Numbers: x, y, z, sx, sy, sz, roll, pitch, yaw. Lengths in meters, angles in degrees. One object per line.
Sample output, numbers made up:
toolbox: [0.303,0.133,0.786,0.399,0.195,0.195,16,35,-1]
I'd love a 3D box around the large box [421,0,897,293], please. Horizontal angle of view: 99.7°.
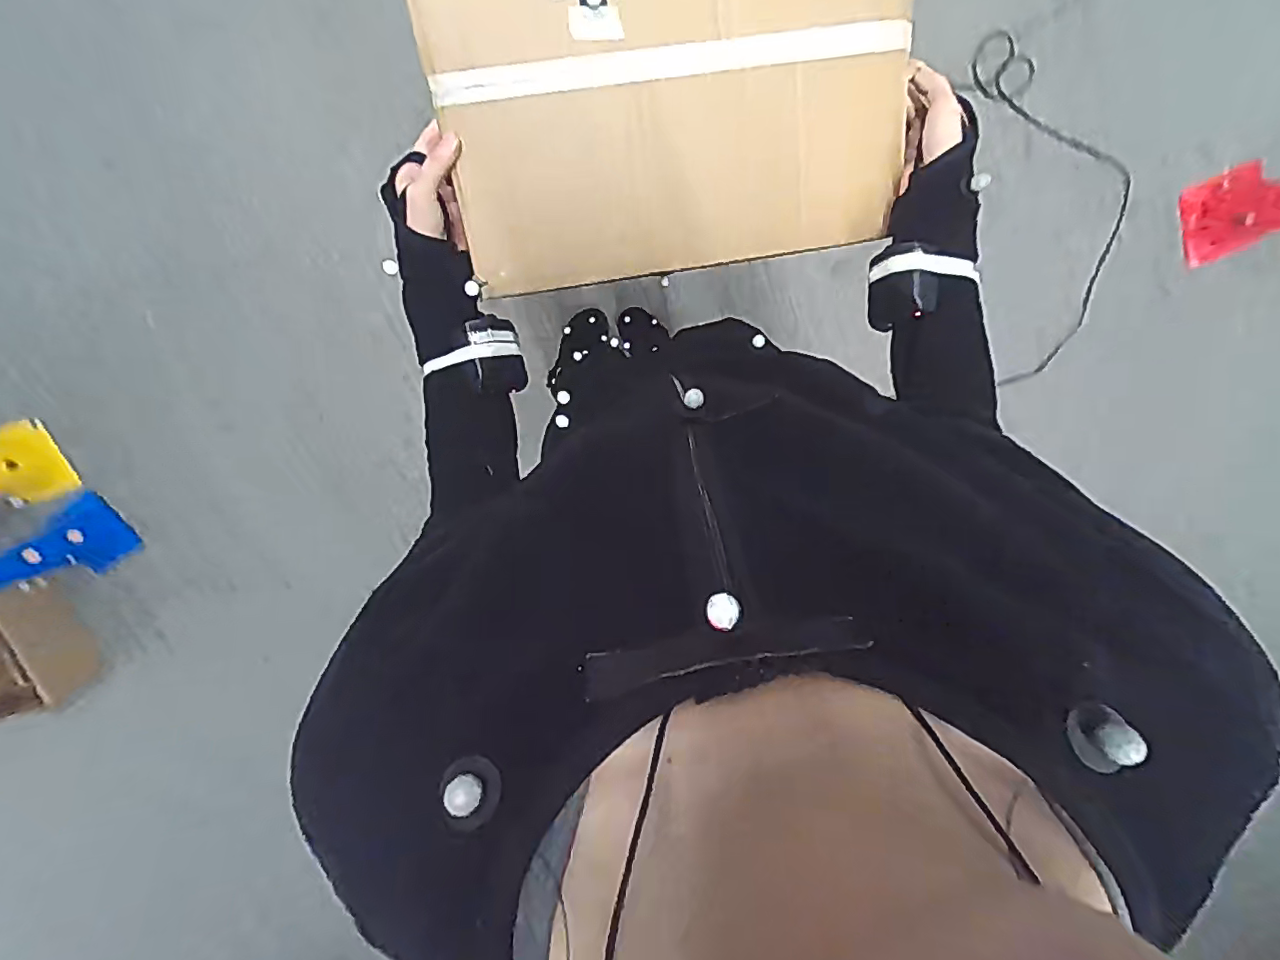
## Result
large box: [0.011,-0.402,0.601,0.408,0.320,0.320,-10,111,-5]
